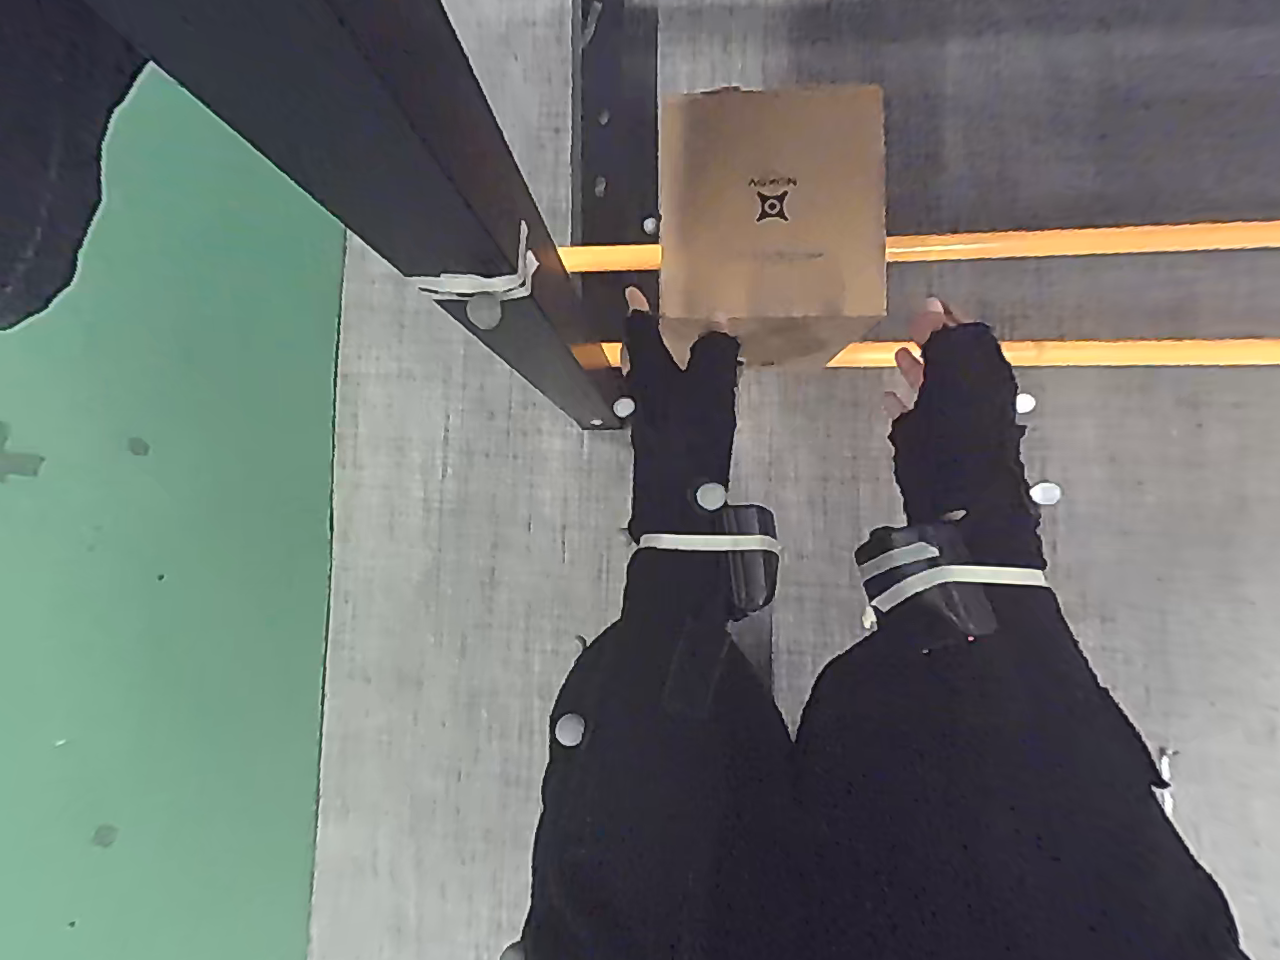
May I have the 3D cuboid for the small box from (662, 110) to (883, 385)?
[{"bbox_3d":[0.103,-0.191,0.490,0.168,0.176,0.179,-1,88,3],"label":"small box"}]
